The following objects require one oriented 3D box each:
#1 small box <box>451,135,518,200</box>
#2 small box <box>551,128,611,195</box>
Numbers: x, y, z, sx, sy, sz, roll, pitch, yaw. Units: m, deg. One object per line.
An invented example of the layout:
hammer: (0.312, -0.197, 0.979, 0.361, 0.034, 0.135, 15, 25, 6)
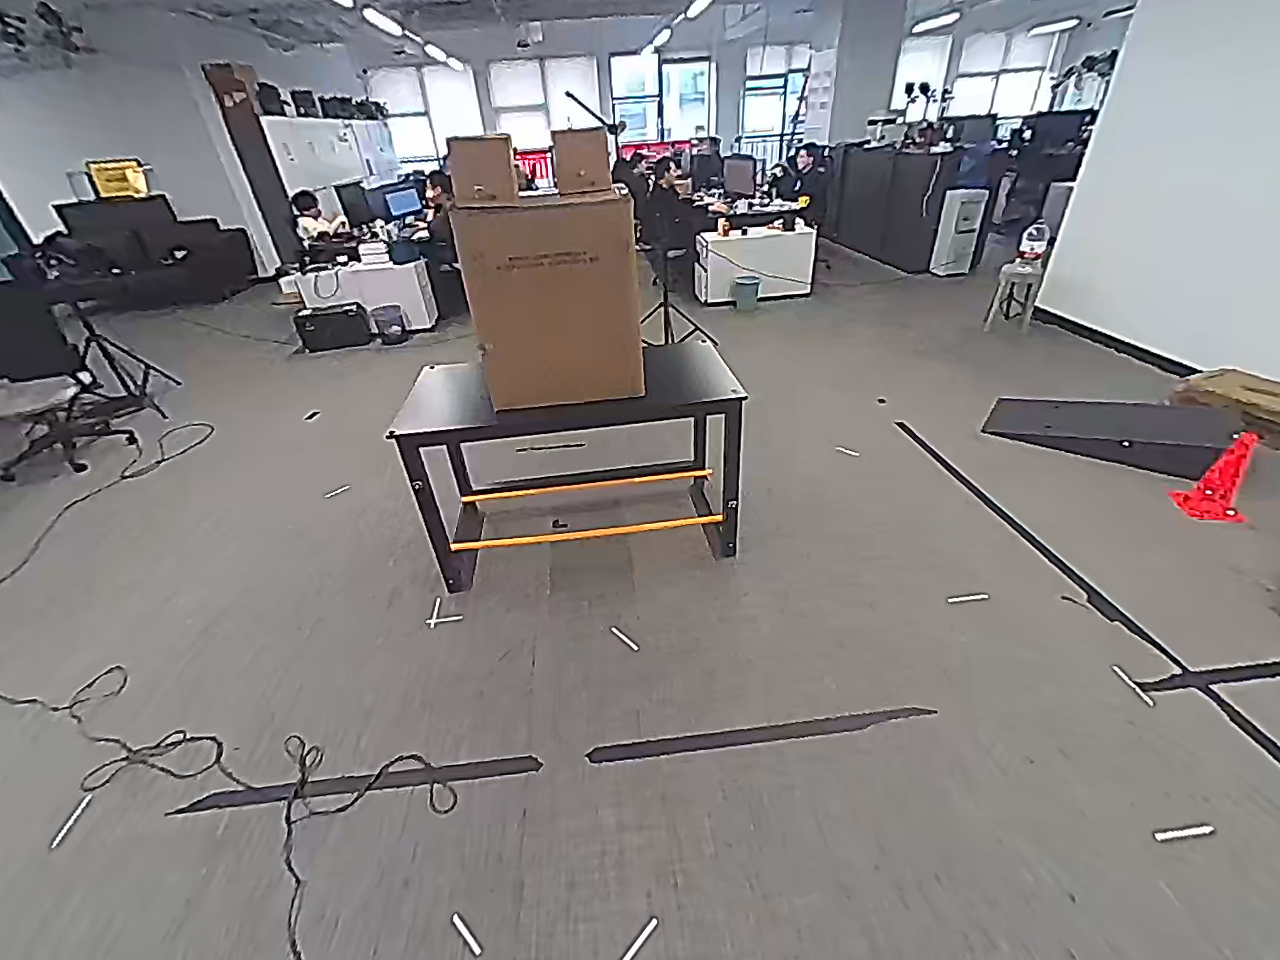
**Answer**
small box: (-0.481, -0.980, 1.701, 0.168, 0.176, 0.179, -7, 32, -6)
small box: (-0.187, -0.997, 1.694, 0.168, 0.176, 0.179, -9, 33, -5)
